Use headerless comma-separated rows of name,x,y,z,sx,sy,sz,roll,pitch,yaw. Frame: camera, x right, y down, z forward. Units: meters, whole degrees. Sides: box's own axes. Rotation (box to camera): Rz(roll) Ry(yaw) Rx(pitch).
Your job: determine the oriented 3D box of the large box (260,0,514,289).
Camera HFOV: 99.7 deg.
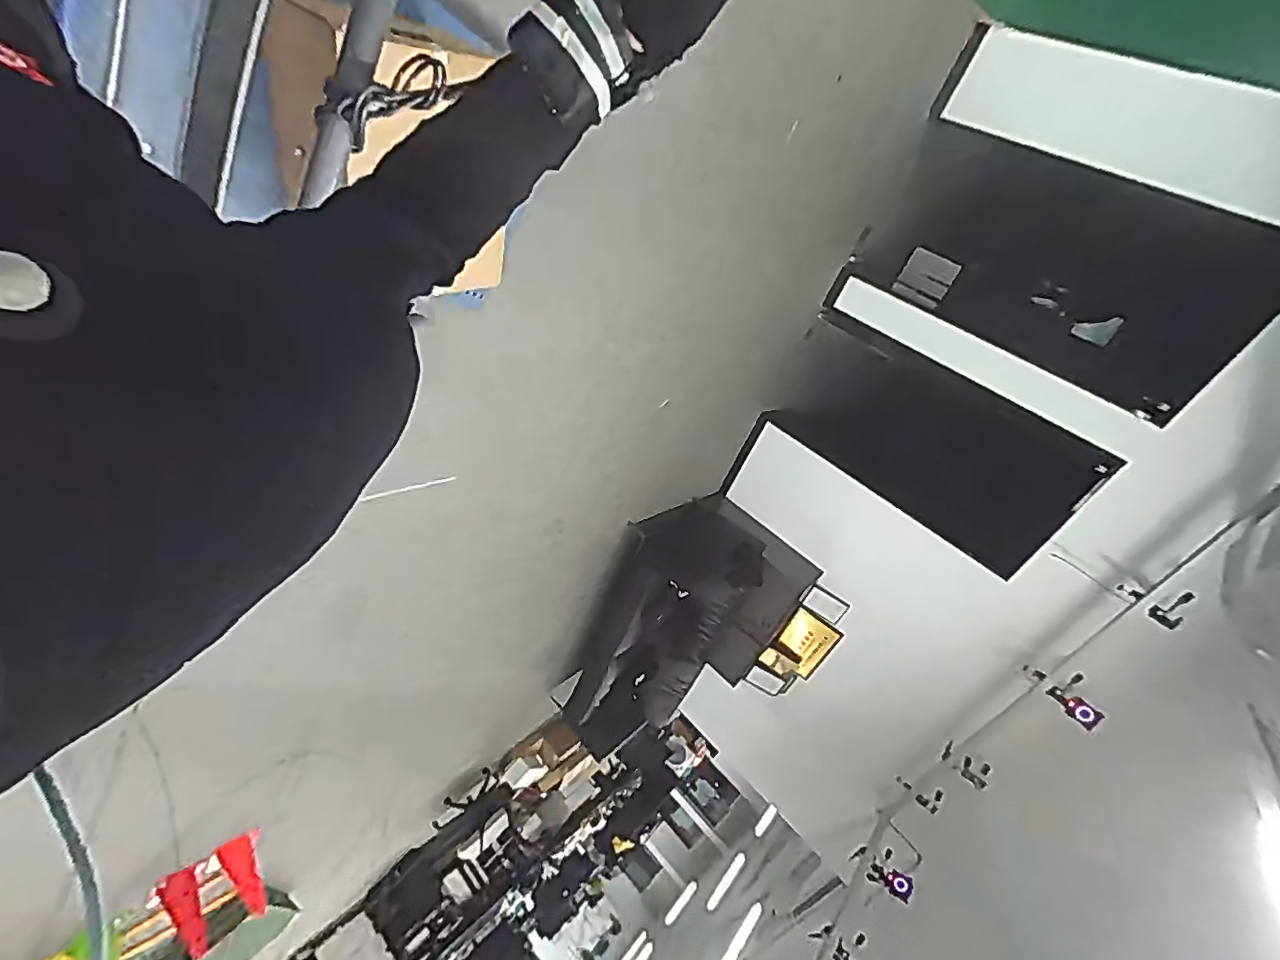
large box,-0.474,-0.634,1.042,0.320,0.320,0.408,-25,145,-41
